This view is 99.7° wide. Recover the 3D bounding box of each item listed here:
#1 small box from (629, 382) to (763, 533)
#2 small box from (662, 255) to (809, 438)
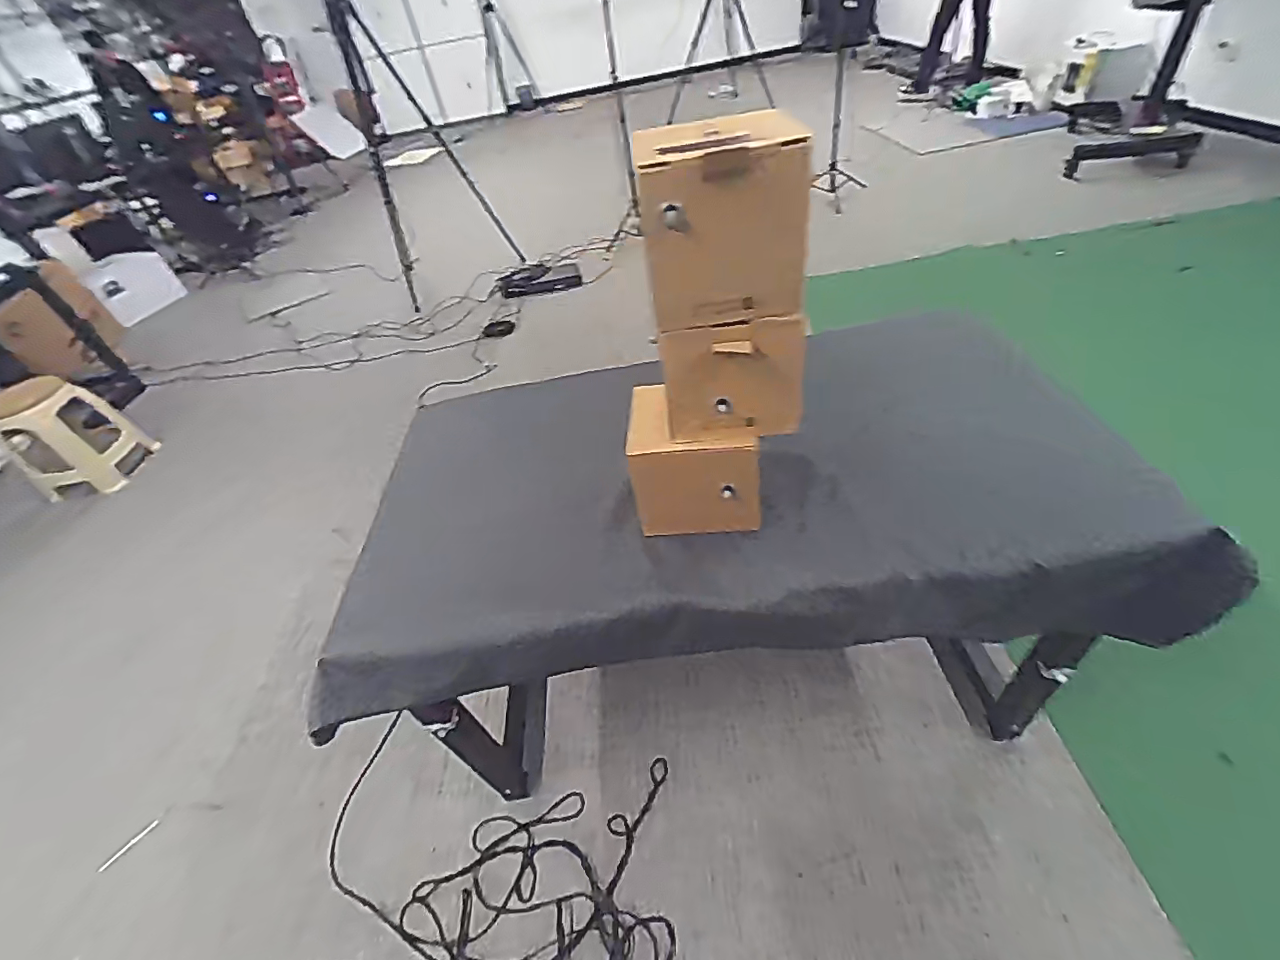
[{"bbox_3d":[0.089,-0.036,0.813,0.179,0.176,0.168,-5,42,9],"label":"small box"},{"bbox_3d":[0.119,-0.175,0.716,0.168,0.176,0.179,-4,43,7],"label":"small box"}]
